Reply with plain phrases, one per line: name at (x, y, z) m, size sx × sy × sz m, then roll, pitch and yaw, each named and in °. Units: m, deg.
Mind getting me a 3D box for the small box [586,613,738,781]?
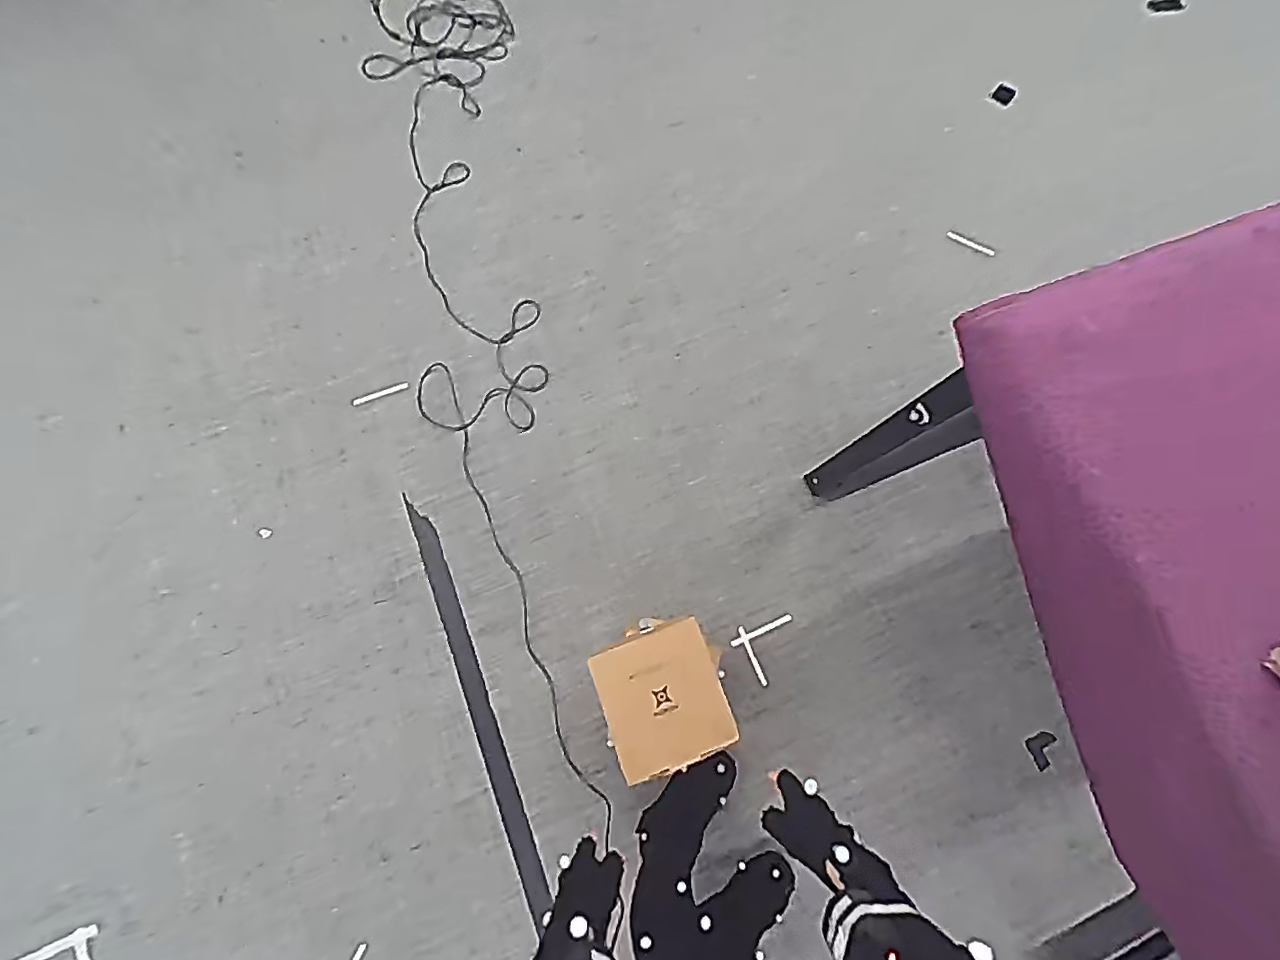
small box at (0.027, 0.310, 0.813) m, size 0.168 × 0.176 × 0.179 m, roll -20°, pitch 78°, yaw -7°
